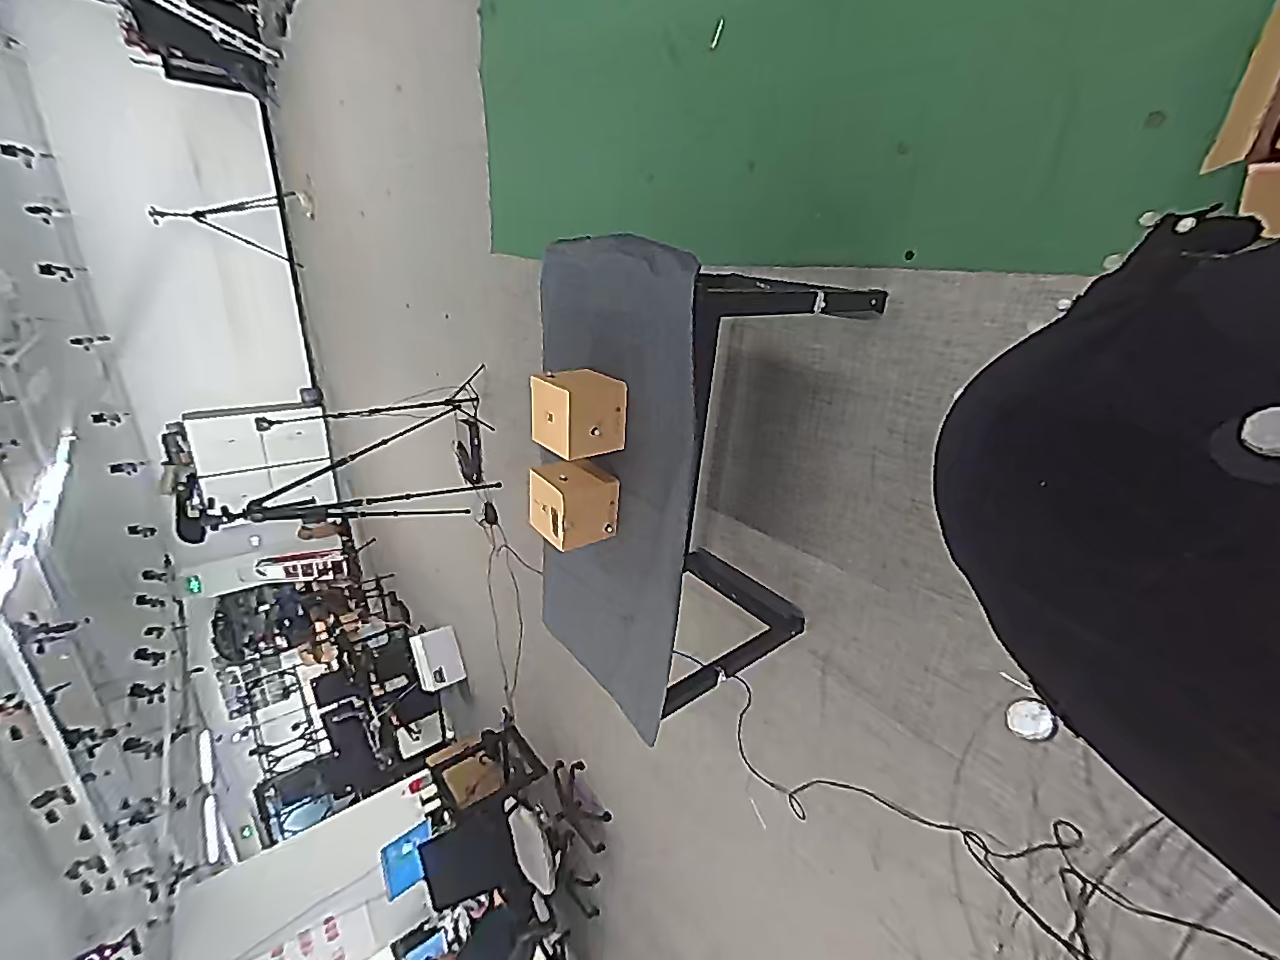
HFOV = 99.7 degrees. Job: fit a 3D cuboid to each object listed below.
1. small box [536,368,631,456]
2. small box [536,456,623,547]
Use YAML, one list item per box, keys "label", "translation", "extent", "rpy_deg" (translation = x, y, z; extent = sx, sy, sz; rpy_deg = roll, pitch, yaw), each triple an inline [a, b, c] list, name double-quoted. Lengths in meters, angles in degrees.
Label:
- label: "small box"
  translation: [-0.135, -0.173, 1.317]
  extent: [0.179, 0.176, 0.168]
  rpy_deg: [29, 124, 45]
- label: "small box"
  translation: [-0.159, 0.048, 1.425]
  extent: [0.179, 0.176, 0.168]
  rpy_deg: [32, 126, 44]
